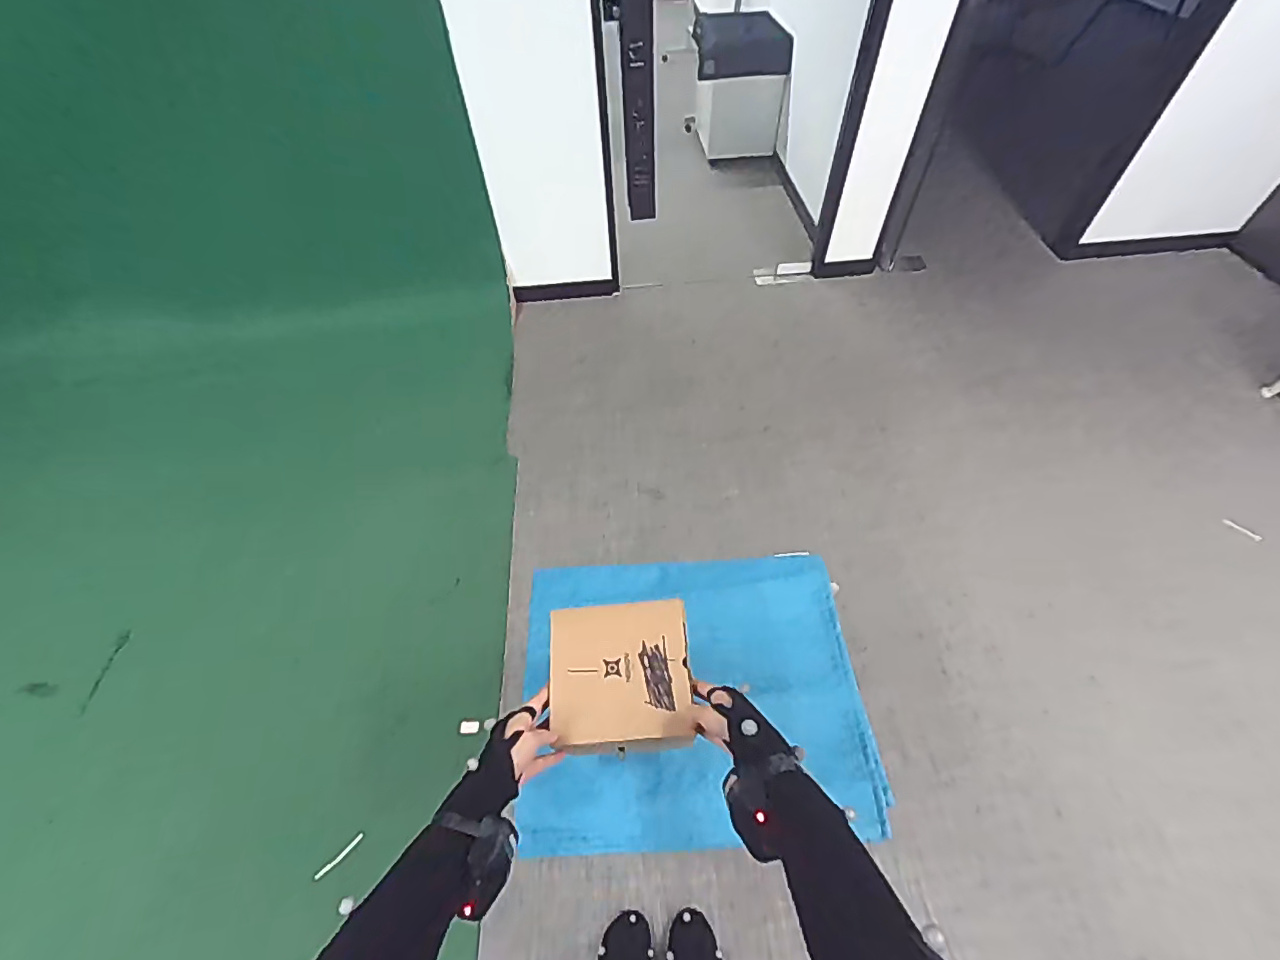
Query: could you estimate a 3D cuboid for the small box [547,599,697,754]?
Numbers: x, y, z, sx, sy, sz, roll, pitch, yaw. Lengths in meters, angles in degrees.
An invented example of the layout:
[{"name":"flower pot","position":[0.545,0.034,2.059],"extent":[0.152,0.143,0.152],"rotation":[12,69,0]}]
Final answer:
[{"name":"small box","position":[-0.022,0.270,0.731],"extent":[0.179,0.176,0.168],"rotation":[-5,59,1]}]
